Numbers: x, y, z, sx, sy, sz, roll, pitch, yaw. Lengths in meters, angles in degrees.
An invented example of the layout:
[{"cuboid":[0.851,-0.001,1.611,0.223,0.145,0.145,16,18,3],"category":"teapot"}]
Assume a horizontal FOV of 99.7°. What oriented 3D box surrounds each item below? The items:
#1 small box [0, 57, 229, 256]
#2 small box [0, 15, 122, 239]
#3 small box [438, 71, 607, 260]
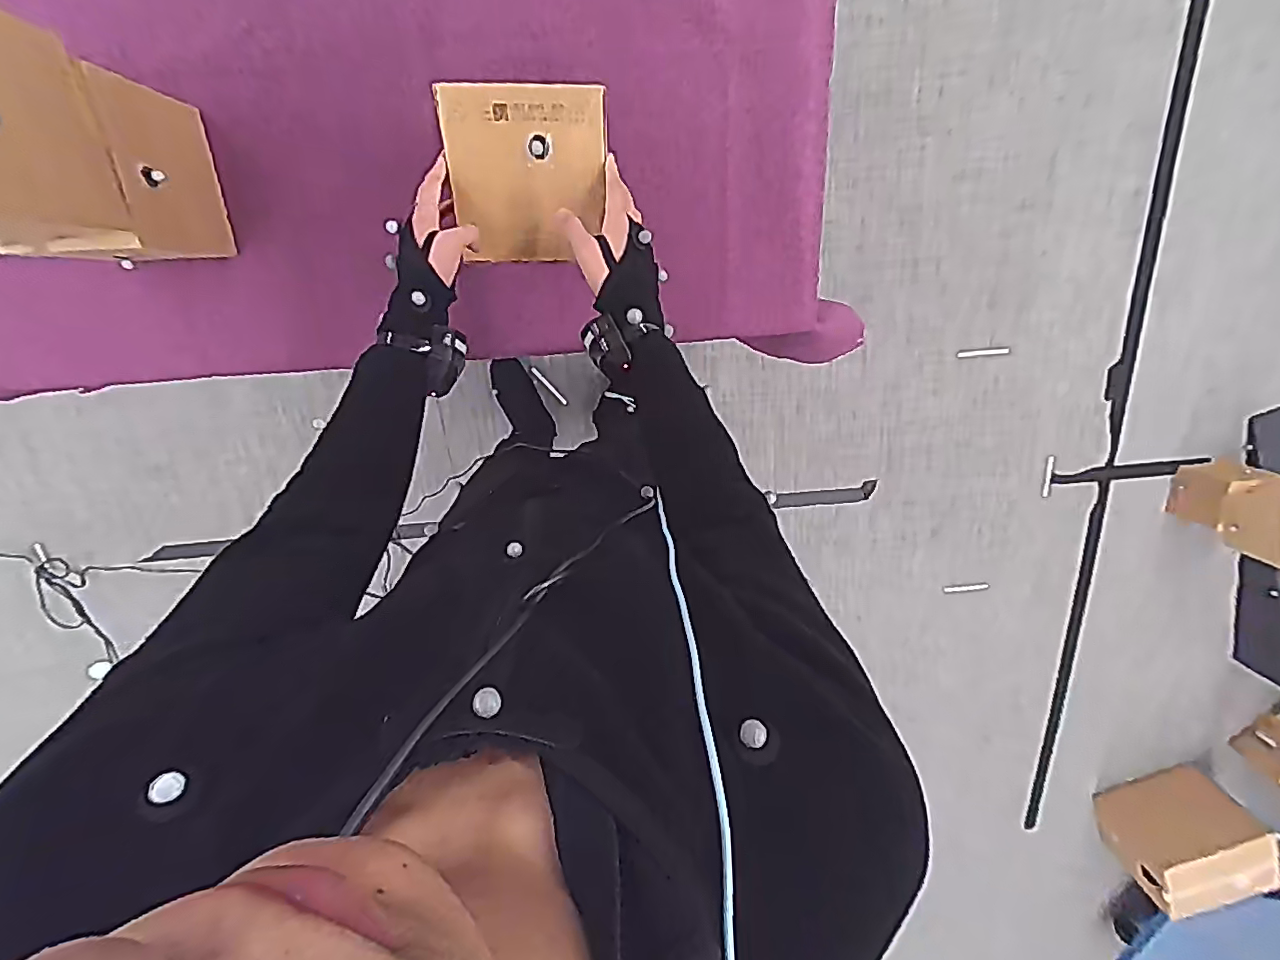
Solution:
[{"cuboid":[-0.629,-0.357,0.629,0.168,0.176,0.179,-3,110,-3],"category":"small box"},{"cuboid":[-0.624,-0.312,0.470,0.168,0.176,0.179,-7,109,-1],"category":"small box"},{"cuboid":[-0.123,-0.366,0.636,0.168,0.179,0.176,-1,122,-3],"category":"small box"}]
